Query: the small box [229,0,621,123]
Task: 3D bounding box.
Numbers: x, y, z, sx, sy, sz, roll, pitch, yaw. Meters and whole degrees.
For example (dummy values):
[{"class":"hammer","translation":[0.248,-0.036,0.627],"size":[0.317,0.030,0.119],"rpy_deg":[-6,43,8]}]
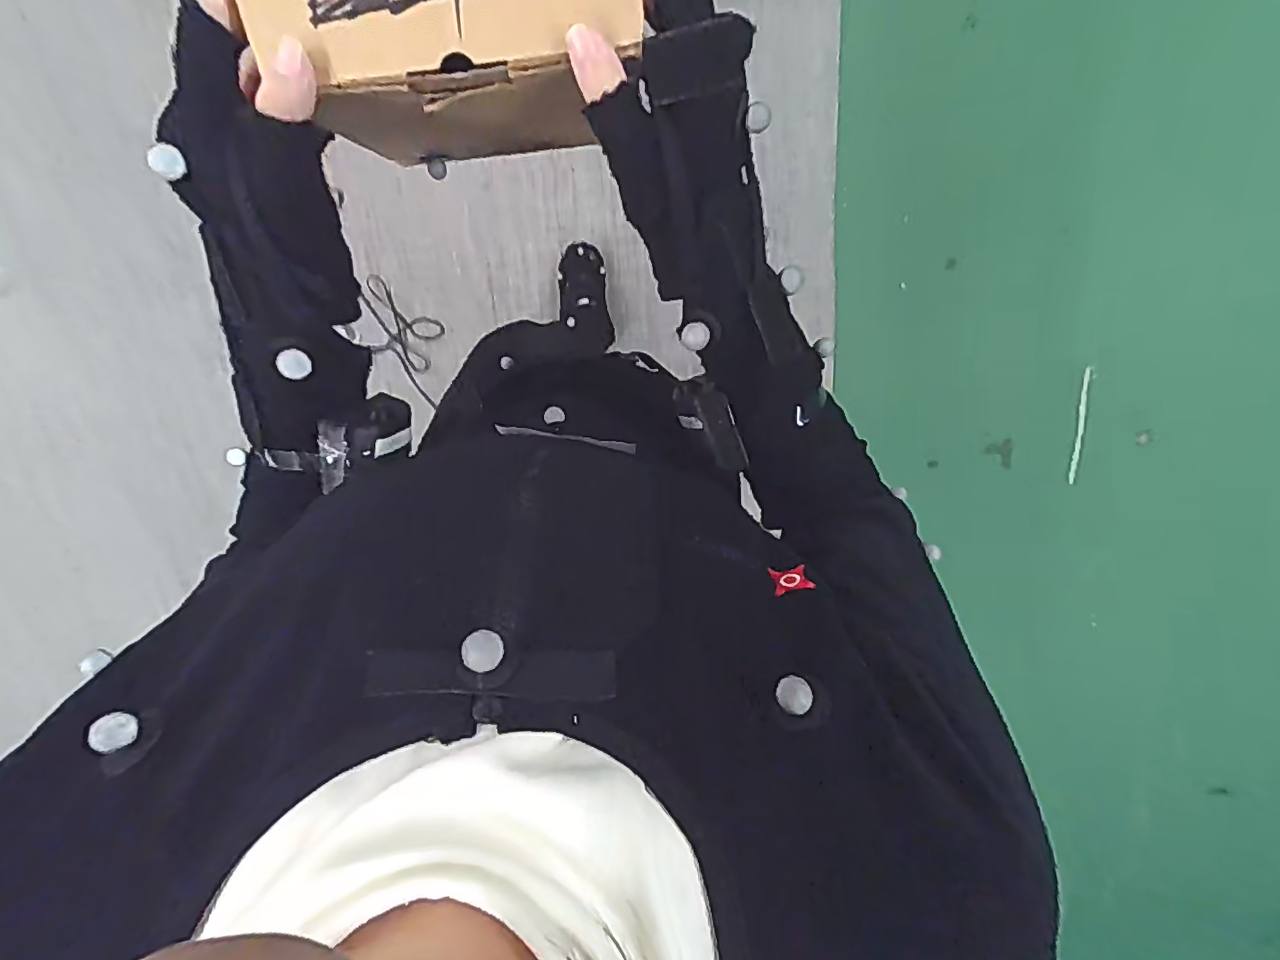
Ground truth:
[{"class":"small box","translation":[-0.098,-0.301,0.272],"size":[0.168,0.176,0.179],"rpy_deg":[-7,110,-1]}]
